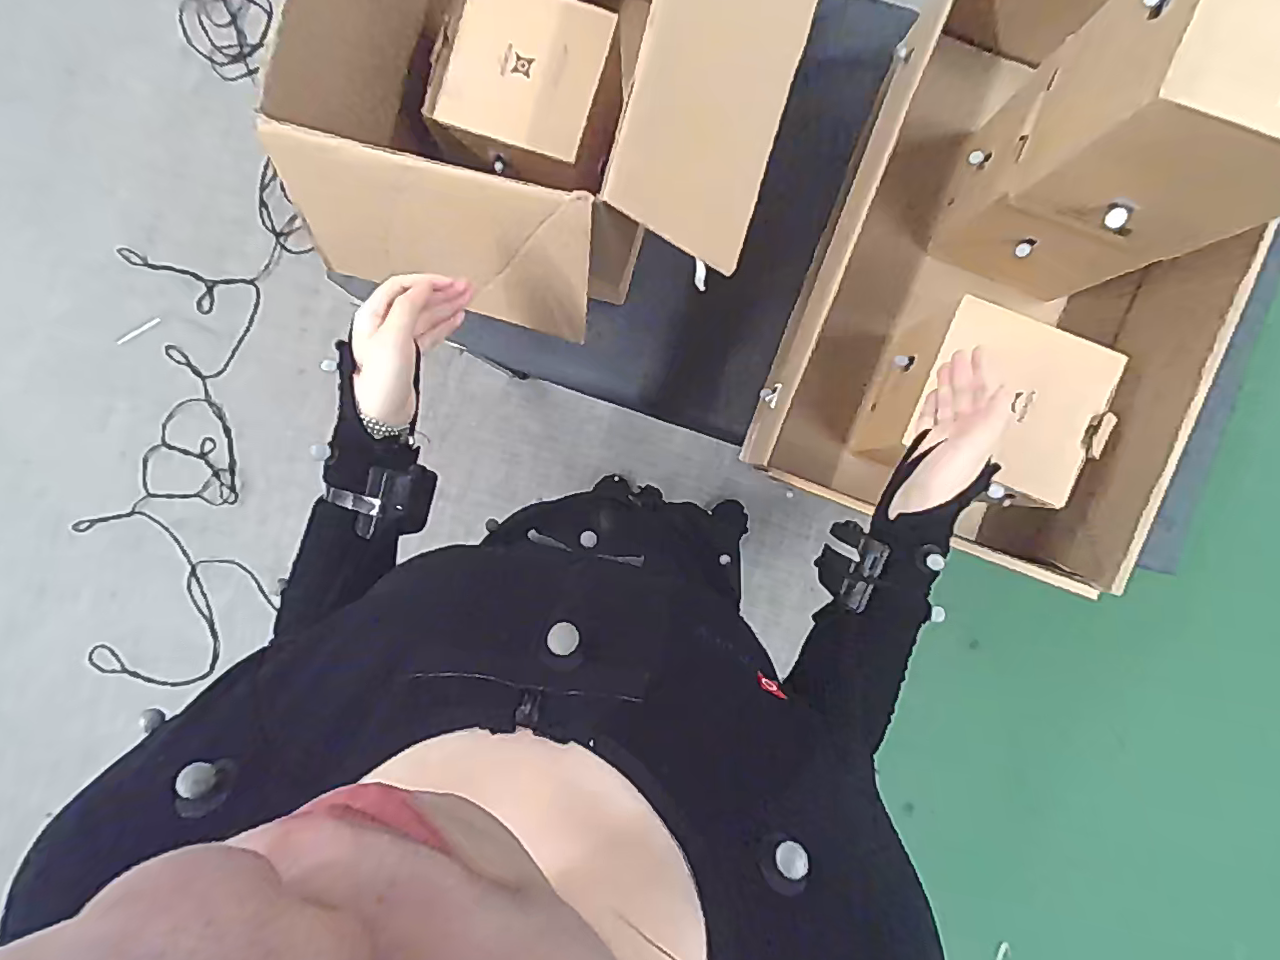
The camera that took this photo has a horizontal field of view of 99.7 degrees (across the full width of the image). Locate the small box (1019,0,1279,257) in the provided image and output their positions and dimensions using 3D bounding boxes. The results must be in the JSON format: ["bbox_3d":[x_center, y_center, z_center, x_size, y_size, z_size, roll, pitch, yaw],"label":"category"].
[{"bbox_3d":[0.464,-0.318,0.445,0.168,0.176,0.179,22,95,1],"label":"small box"}]
